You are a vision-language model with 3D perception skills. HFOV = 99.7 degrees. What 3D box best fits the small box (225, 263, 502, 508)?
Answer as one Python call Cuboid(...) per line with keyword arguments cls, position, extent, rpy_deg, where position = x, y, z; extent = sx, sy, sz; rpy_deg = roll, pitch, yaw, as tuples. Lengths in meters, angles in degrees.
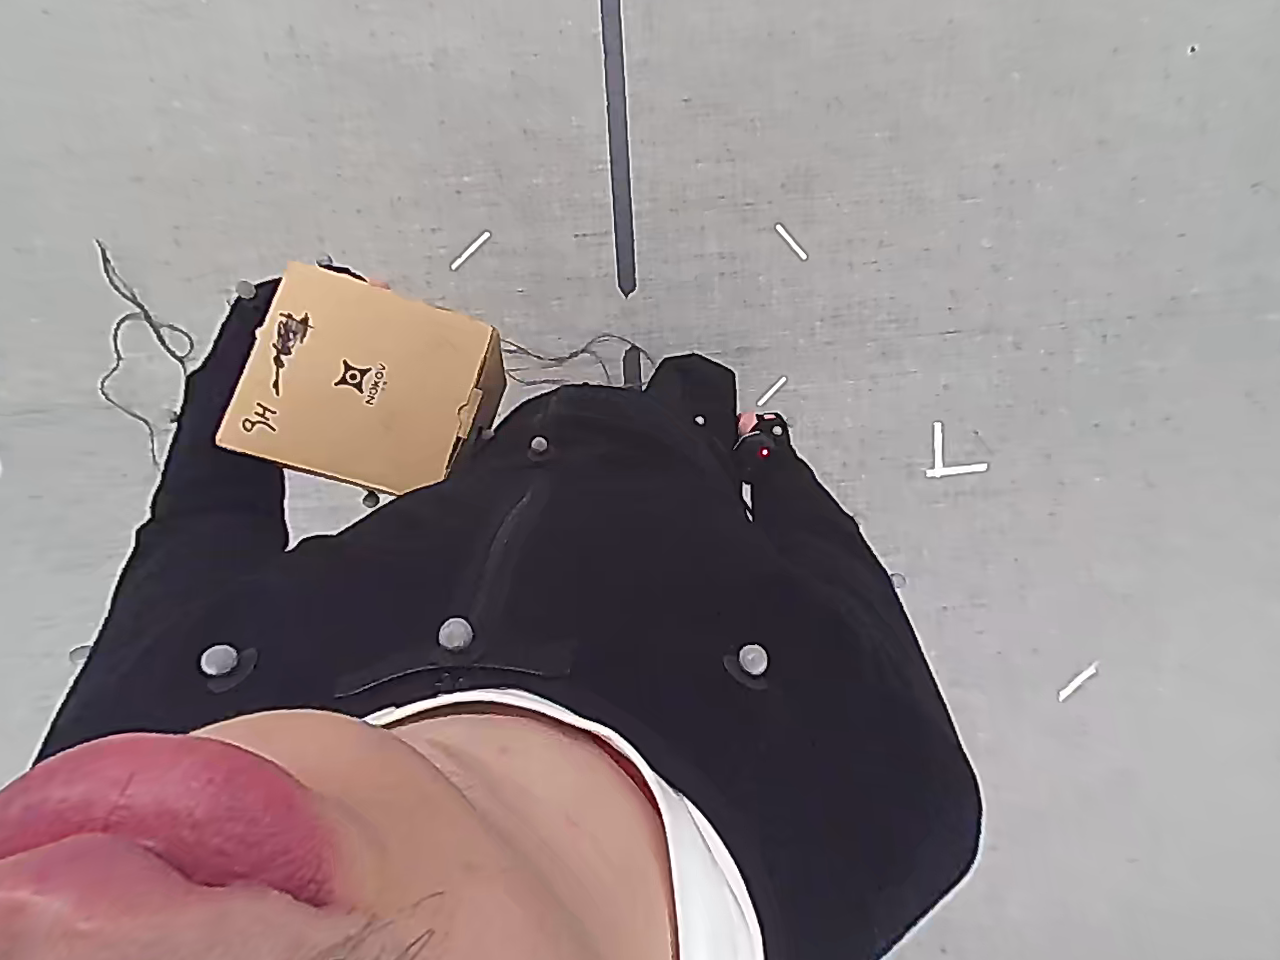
Cuboid(cls="small box", position=(-0.243, -0.073, 0.532), extent=(0.179, 0.176, 0.168), rpy_deg=(17, 80, -9))
